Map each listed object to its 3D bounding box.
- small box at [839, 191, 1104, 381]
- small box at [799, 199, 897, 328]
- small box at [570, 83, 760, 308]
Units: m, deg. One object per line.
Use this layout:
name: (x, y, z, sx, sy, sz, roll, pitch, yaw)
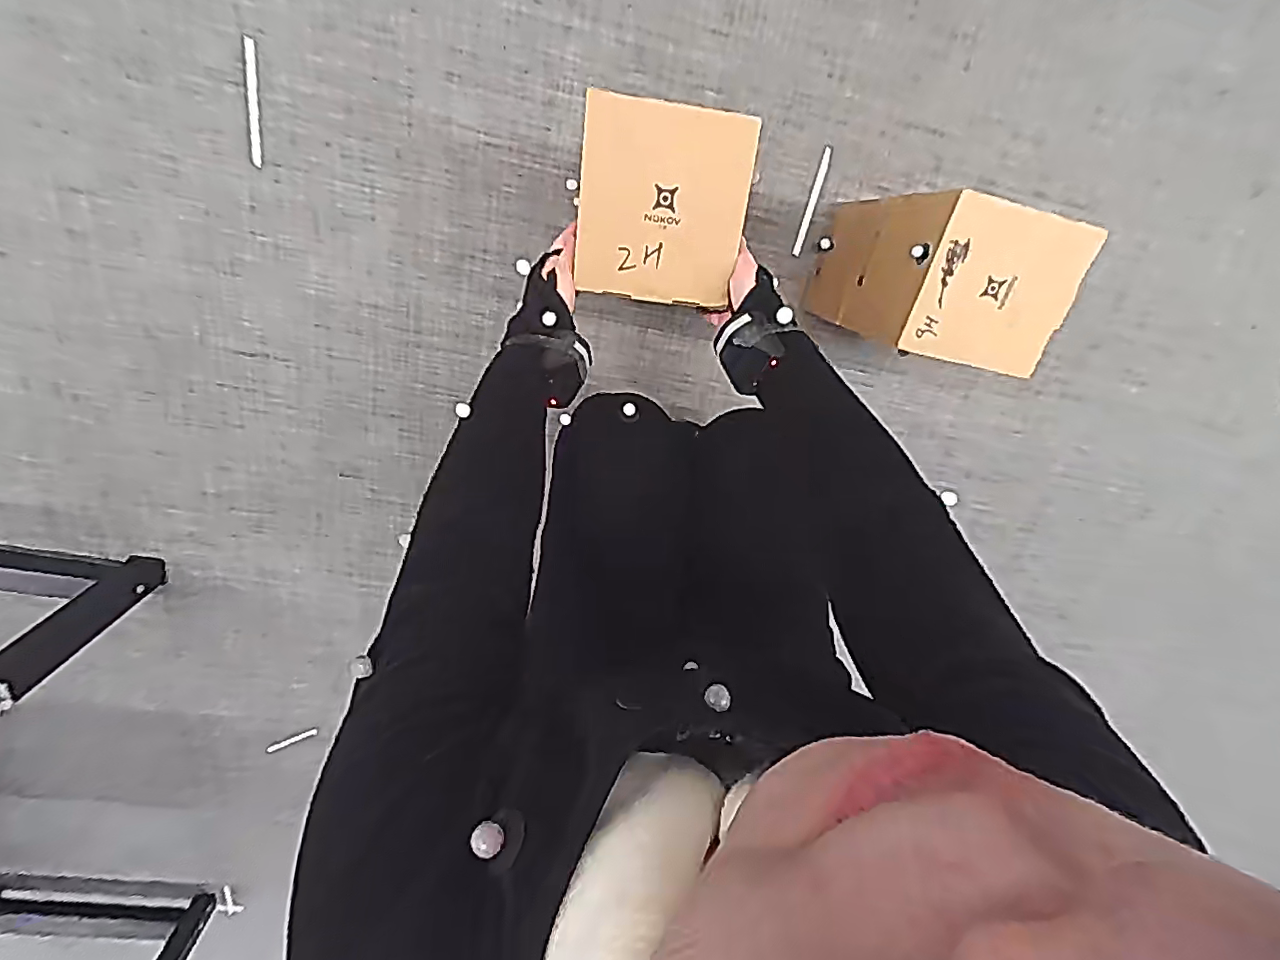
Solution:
small box: (0.377, -0.235, 0.653, 0.179, 0.176, 0.168, 11, 113, -10)
small box: (0.367, -0.303, 0.801, 0.179, 0.176, 0.168, 13, 114, -10)
small box: (0.014, -0.297, 0.591, 0.168, 0.176, 0.179, 5, 115, -6)
